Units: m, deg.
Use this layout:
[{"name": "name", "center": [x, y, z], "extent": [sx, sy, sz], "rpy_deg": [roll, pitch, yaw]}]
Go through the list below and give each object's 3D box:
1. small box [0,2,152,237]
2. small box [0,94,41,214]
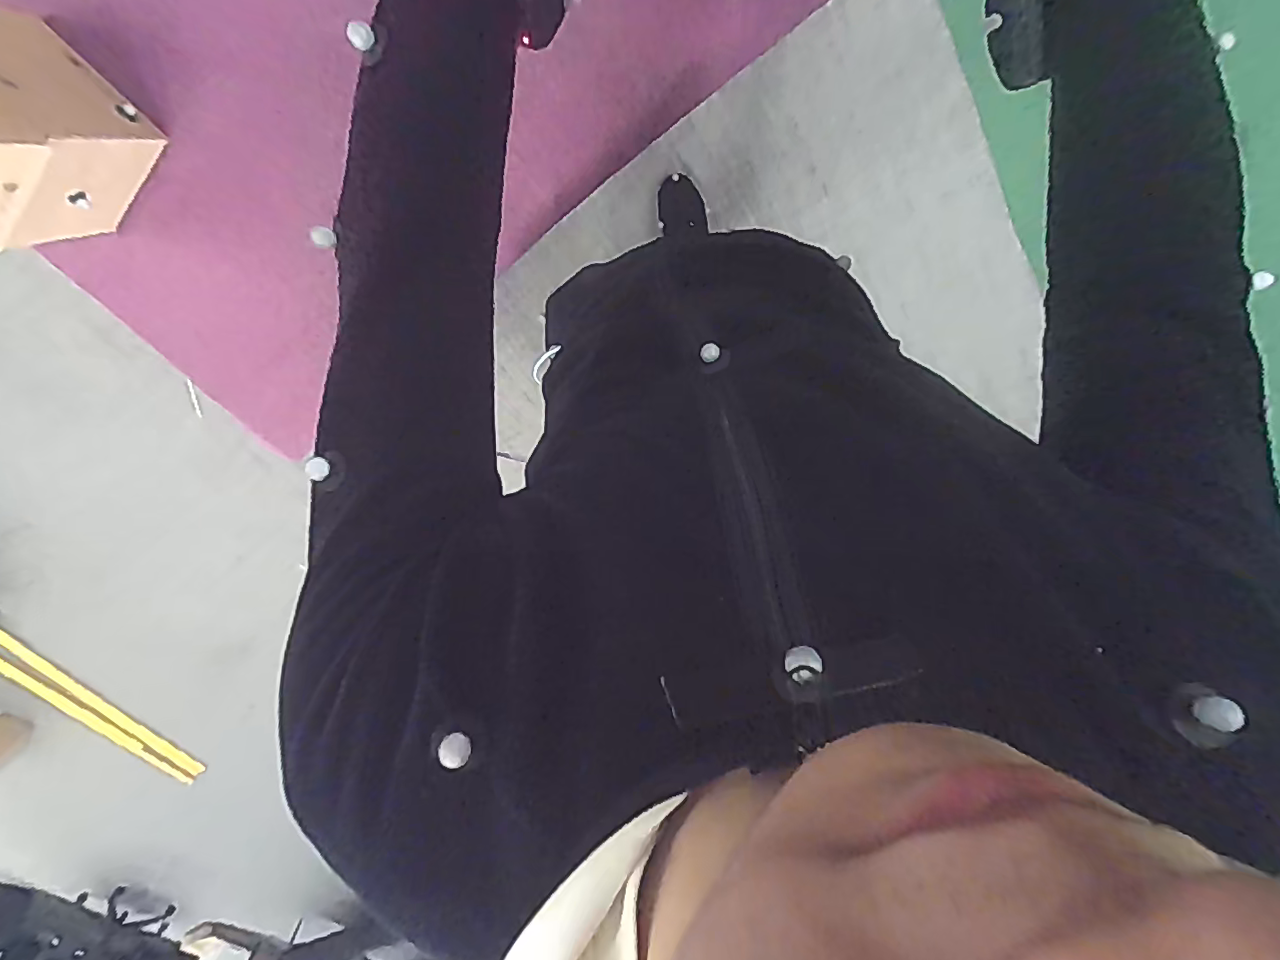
[{"name": "small box", "center": [-0.730, -0.418, 0.625], "extent": [0.179, 0.176, 0.168], "rpy_deg": [-34, 115, 22]}, {"name": "small box", "center": [-0.729, -0.330, 0.488], "extent": [0.168, 0.176, 0.179], "rpy_deg": [-34, 114, 21]}]
